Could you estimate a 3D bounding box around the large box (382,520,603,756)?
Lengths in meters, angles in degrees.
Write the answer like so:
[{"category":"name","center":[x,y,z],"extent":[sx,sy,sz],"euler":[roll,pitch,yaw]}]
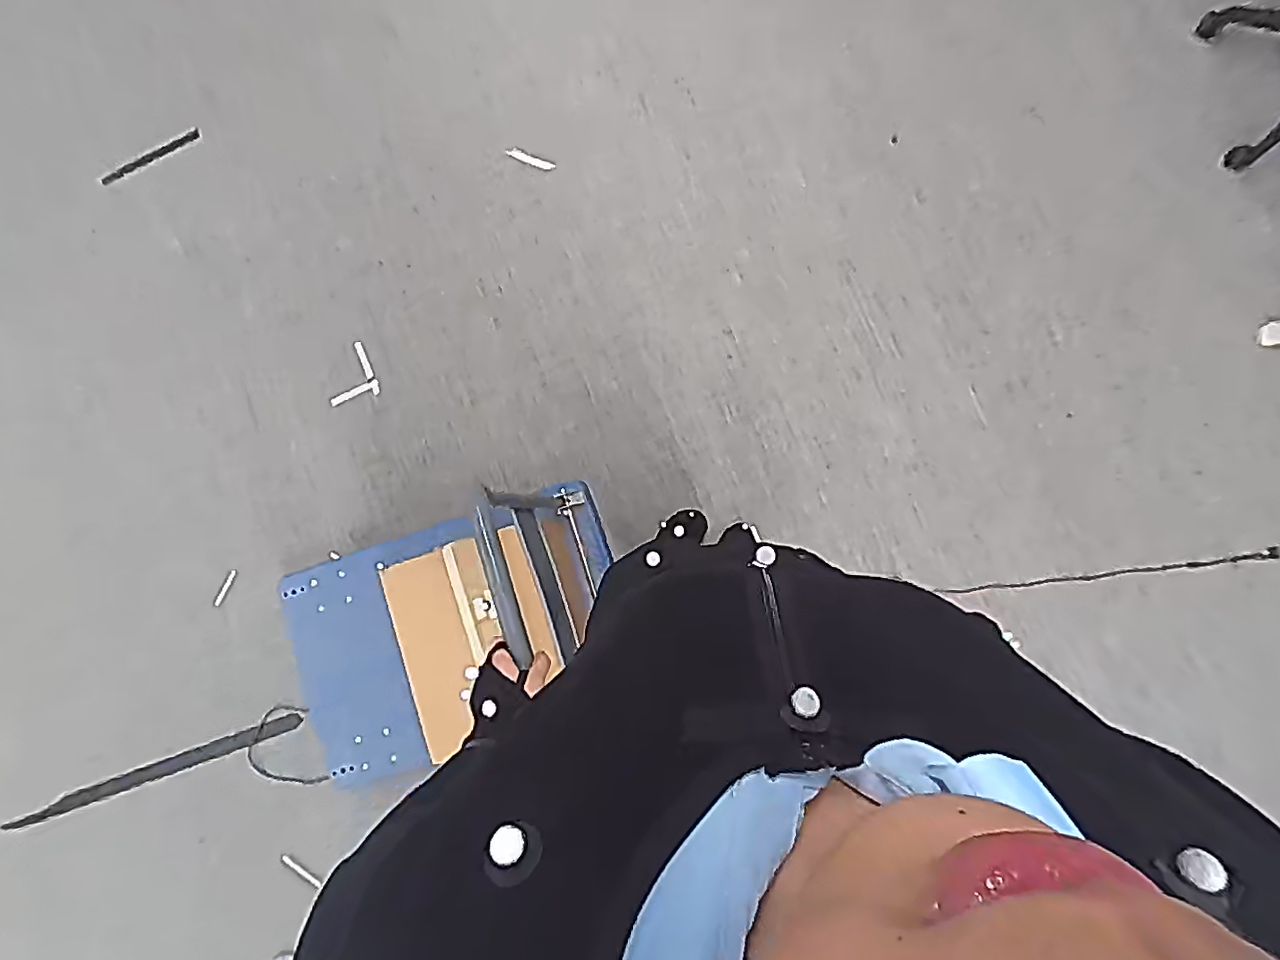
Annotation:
[{"category":"large box","center":[-0.309,0.326,1.224],"extent":[0.320,0.320,0.408],"euler":[-18,85,4]}]
